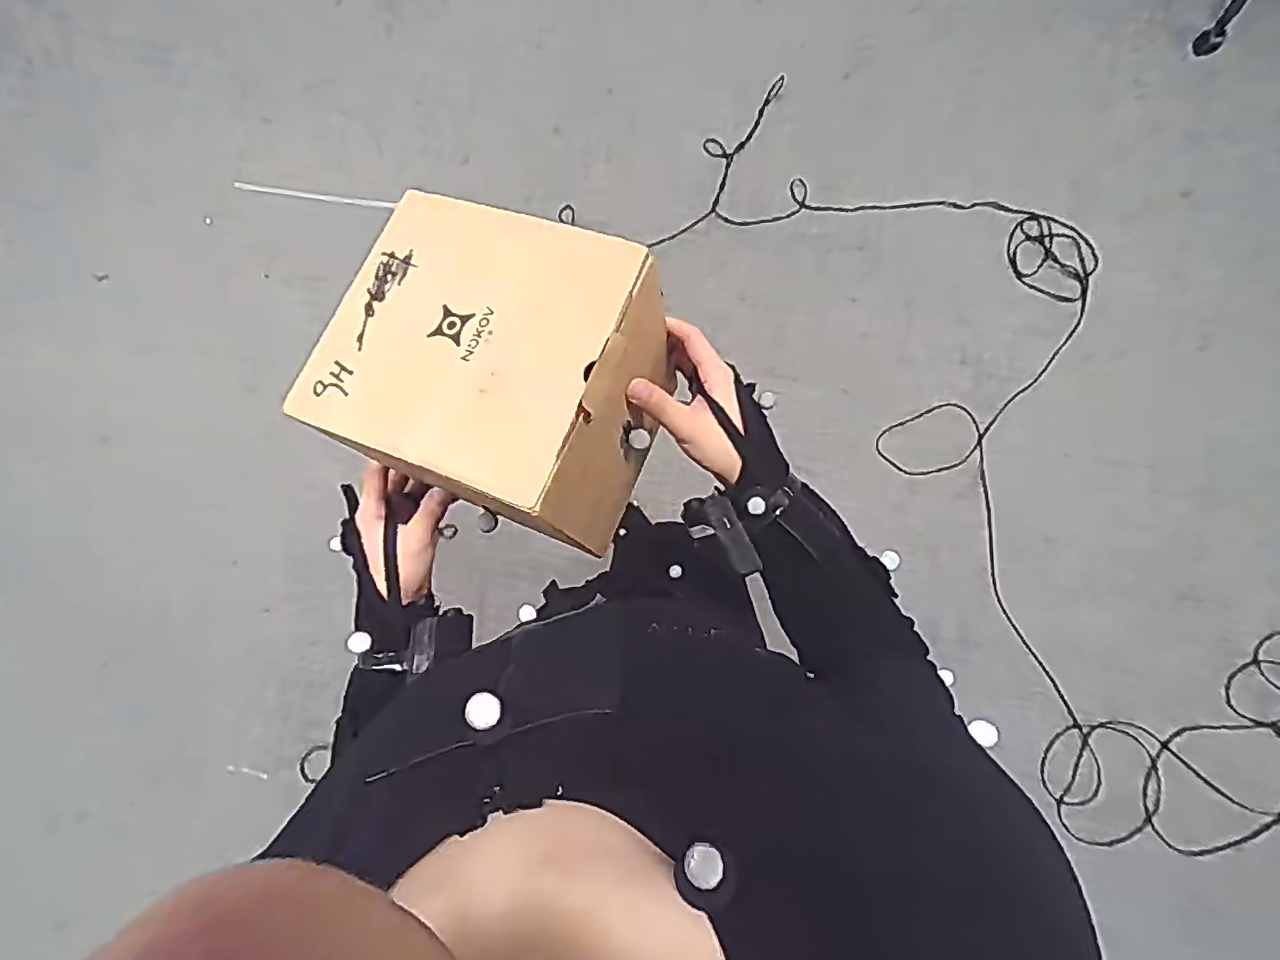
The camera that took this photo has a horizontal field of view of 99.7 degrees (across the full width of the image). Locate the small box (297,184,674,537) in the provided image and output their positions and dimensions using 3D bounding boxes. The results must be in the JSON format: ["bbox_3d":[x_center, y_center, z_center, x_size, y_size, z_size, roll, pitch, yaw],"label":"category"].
[{"bbox_3d":[-0.084,-0.068,0.393,0.179,0.176,0.168,22,78,13],"label":"small box"}]
